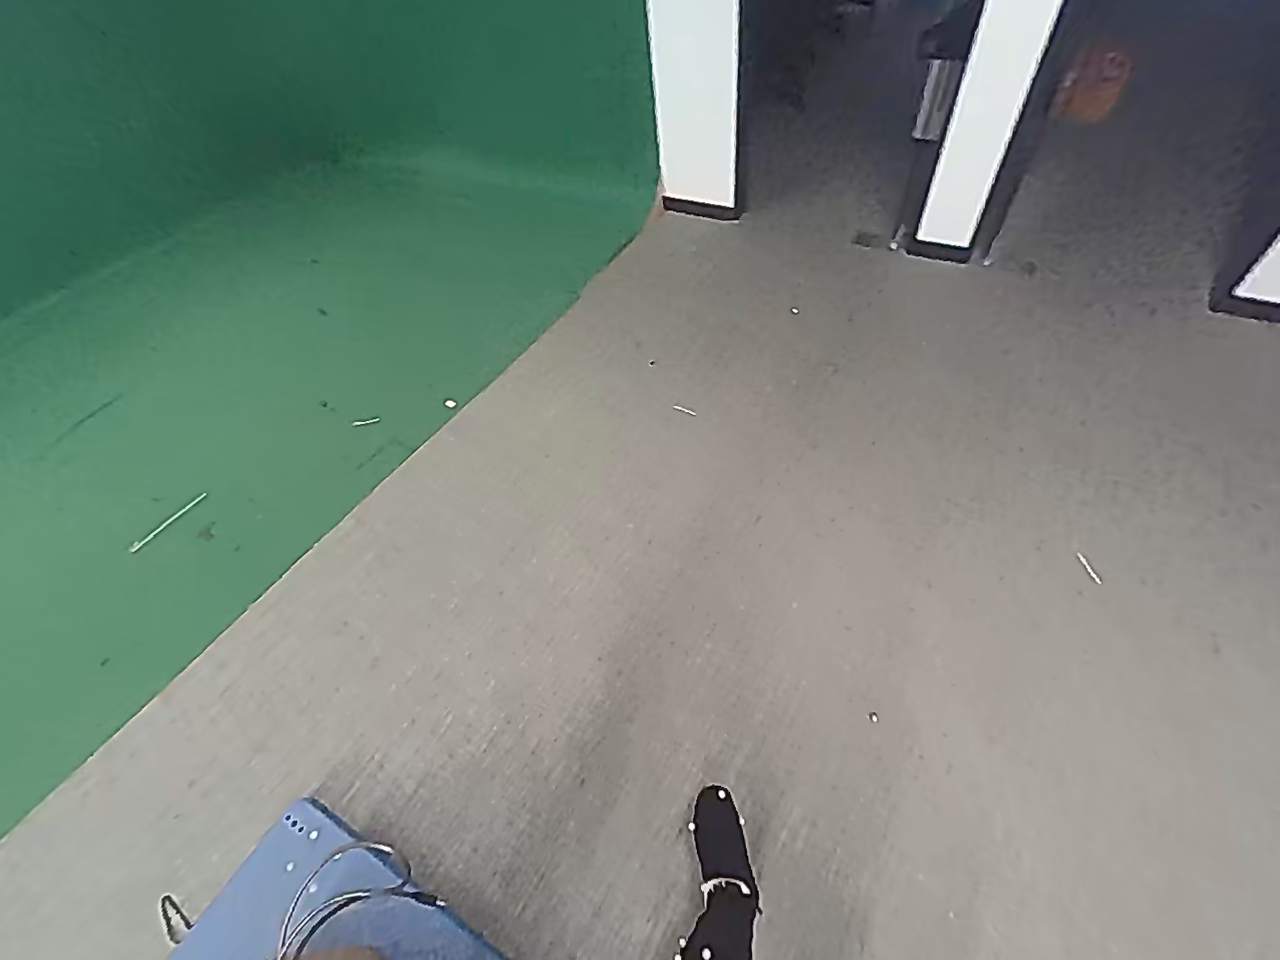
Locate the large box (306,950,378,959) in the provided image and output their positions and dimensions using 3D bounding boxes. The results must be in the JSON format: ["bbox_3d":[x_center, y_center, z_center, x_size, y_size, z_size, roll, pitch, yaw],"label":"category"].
[{"bbox_3d":[-0.480,1.046,0.851,0.408,0.320,0.320,19,57,22],"label":"large box"}]
